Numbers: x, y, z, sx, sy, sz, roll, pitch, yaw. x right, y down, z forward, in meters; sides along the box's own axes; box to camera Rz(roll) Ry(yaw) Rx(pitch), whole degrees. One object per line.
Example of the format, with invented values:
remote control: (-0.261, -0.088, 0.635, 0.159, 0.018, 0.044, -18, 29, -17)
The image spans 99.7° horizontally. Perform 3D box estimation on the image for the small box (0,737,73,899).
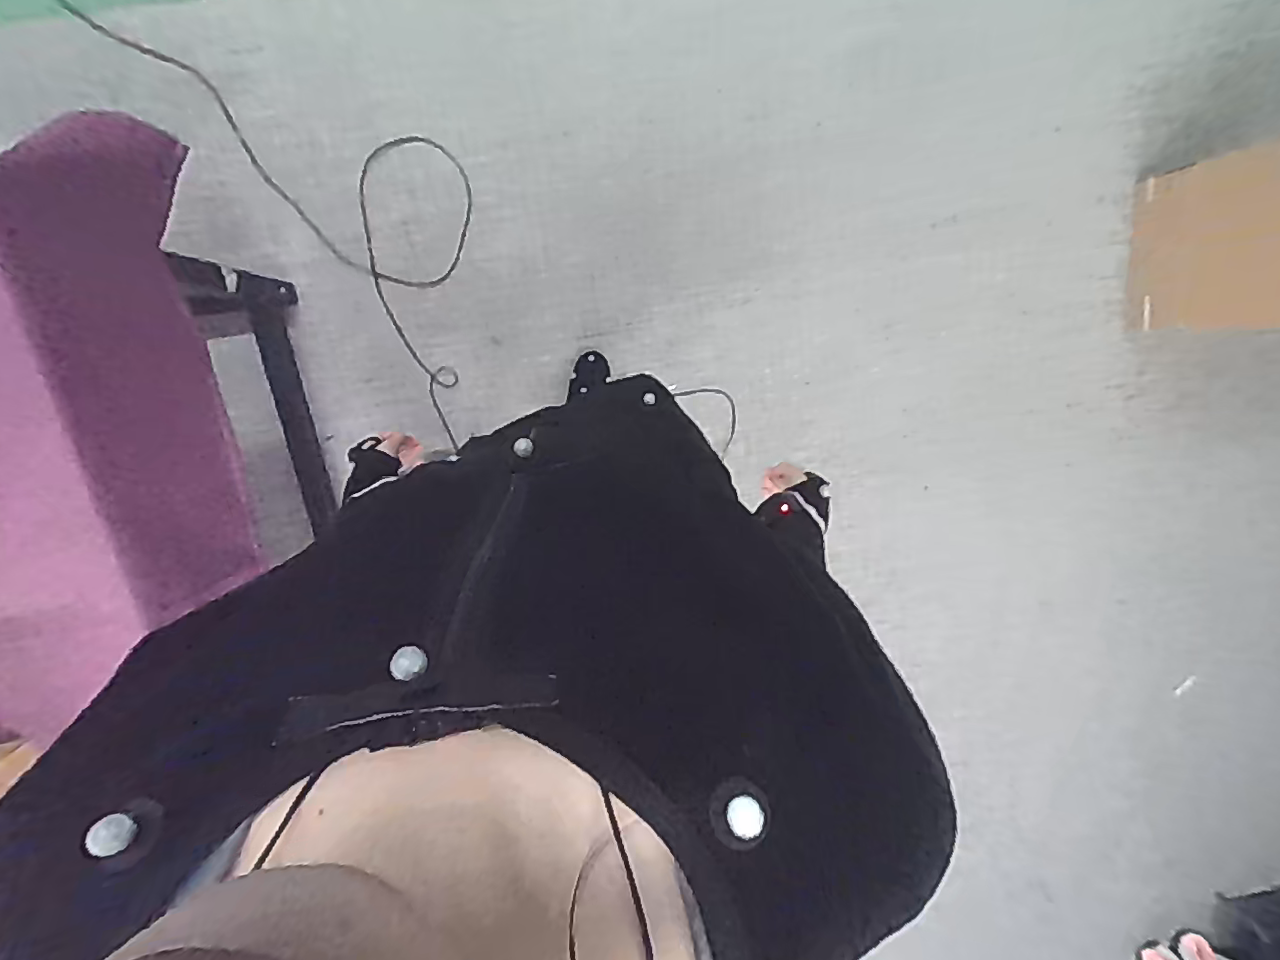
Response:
small box: (-0.909, 0.471, 0.695, 0.168, 0.176, 0.179, -11, 103, -3)
